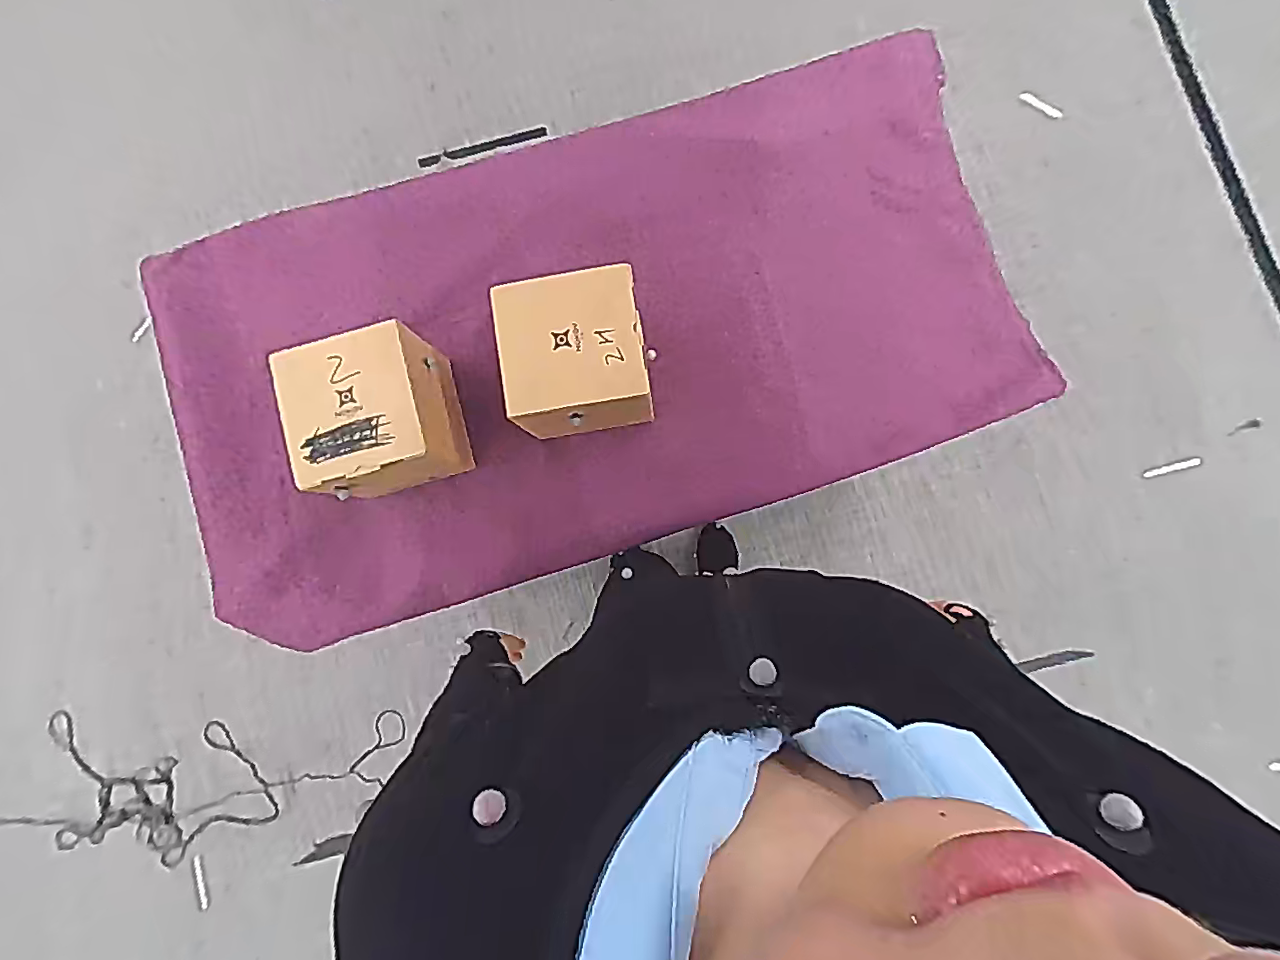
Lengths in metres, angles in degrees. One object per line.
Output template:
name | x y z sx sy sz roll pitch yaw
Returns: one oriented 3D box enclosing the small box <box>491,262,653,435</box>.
small box | -0.080 -0.162 0.722 0.179 0.176 0.168 -9 85 2
